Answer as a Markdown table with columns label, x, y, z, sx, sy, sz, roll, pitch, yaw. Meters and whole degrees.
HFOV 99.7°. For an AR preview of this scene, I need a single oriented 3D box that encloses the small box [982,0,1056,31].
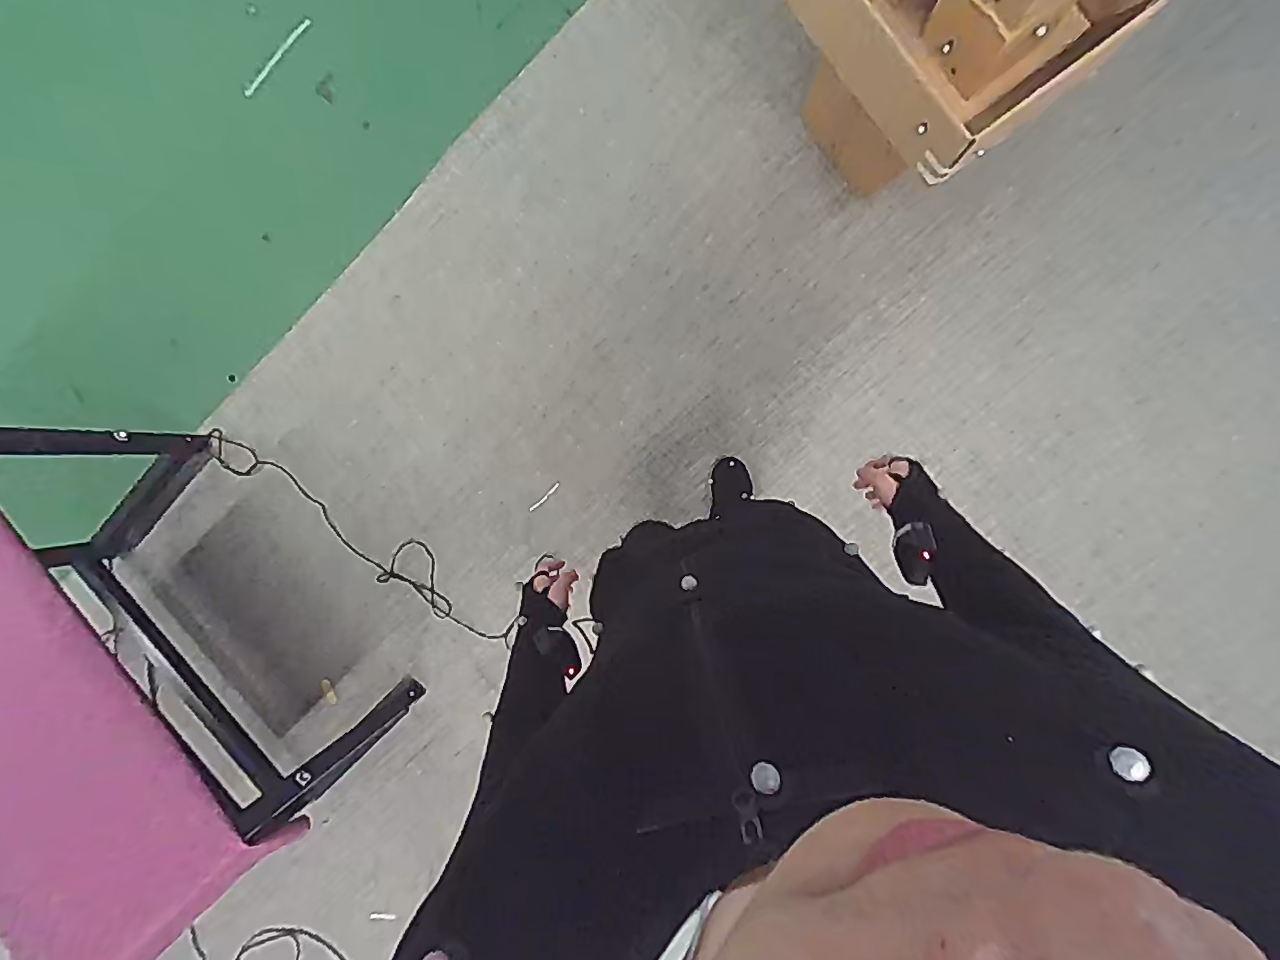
| label | x | y | z | sx | sy | sz | roll | pitch | yaw |
| --- | --- | --- | --- | --- | --- | --- | --- | --- | --- |
| small box | 0.655 | -0.884 | 0.851 | 0.179 | 0.176 | 0.168 | -34 | 88 | 8 |

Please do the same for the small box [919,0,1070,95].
| label | x | y | z | sx | sy | sz | roll | pitch | yaw |
| --- | --- | --- | --- | --- | --- | --- | --- | --- | --- |
| small box | 0.670 | -0.888 | 1.014 | 0.179 | 0.176 | 0.168 | -36 | 89 | 9 |
